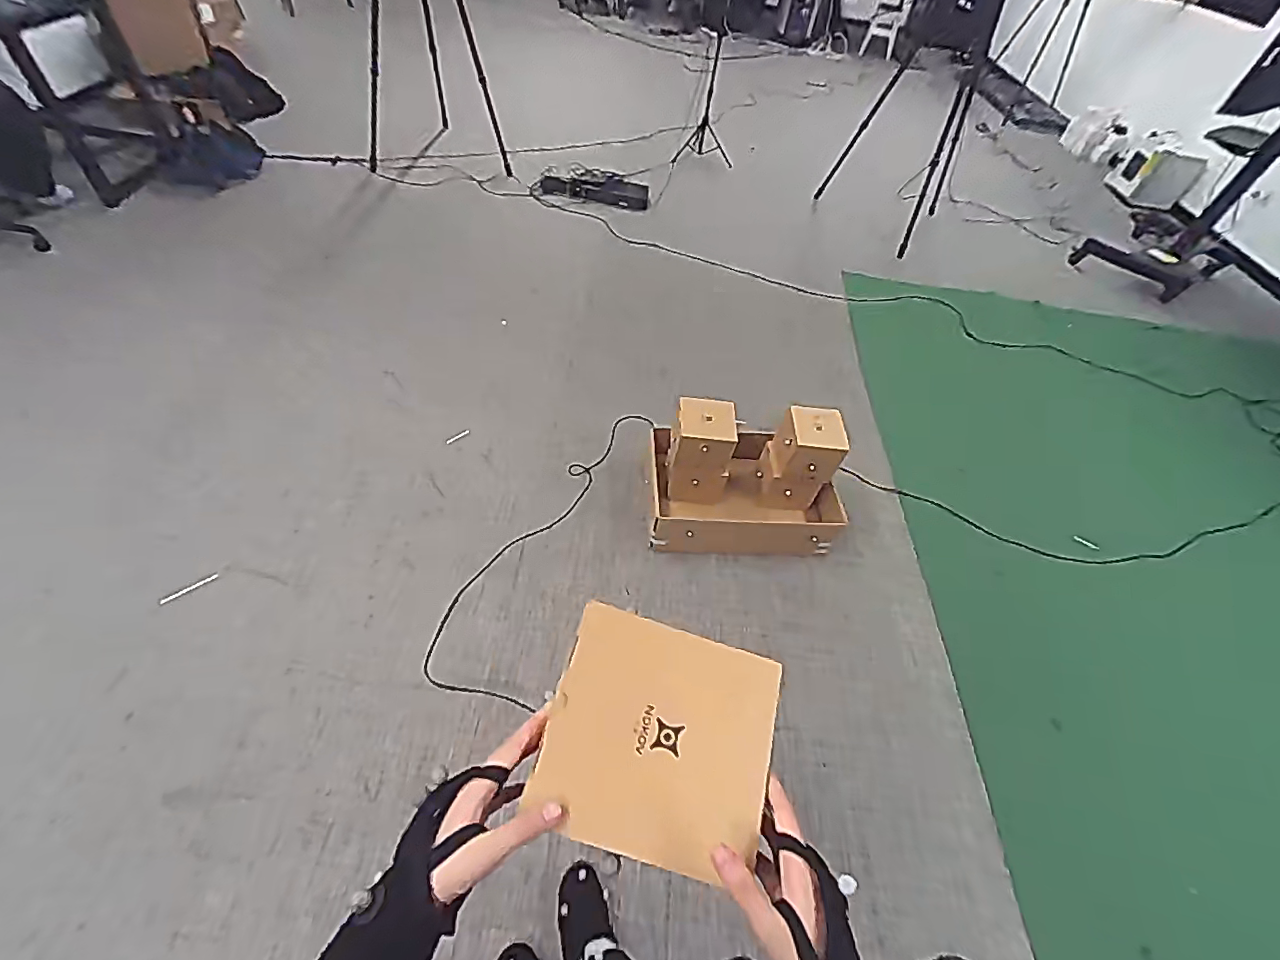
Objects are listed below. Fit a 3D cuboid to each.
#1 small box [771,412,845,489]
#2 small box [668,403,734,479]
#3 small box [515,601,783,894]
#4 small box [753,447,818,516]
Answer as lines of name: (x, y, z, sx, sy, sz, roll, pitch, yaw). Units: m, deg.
small box: (0.534, -0.091, 1.738, 0.168, 0.176, 0.179, 7, 50, -6)
small box: (0.187, -0.119, 1.703, 0.179, 0.176, 0.168, 7, 52, -5)
small box: (0.004, 0.232, 0.483, 0.179, 0.176, 0.168, 19, 59, 0)
small box: (0.497, 0.009, 1.865, 0.179, 0.176, 0.168, 6, 51, -4)
